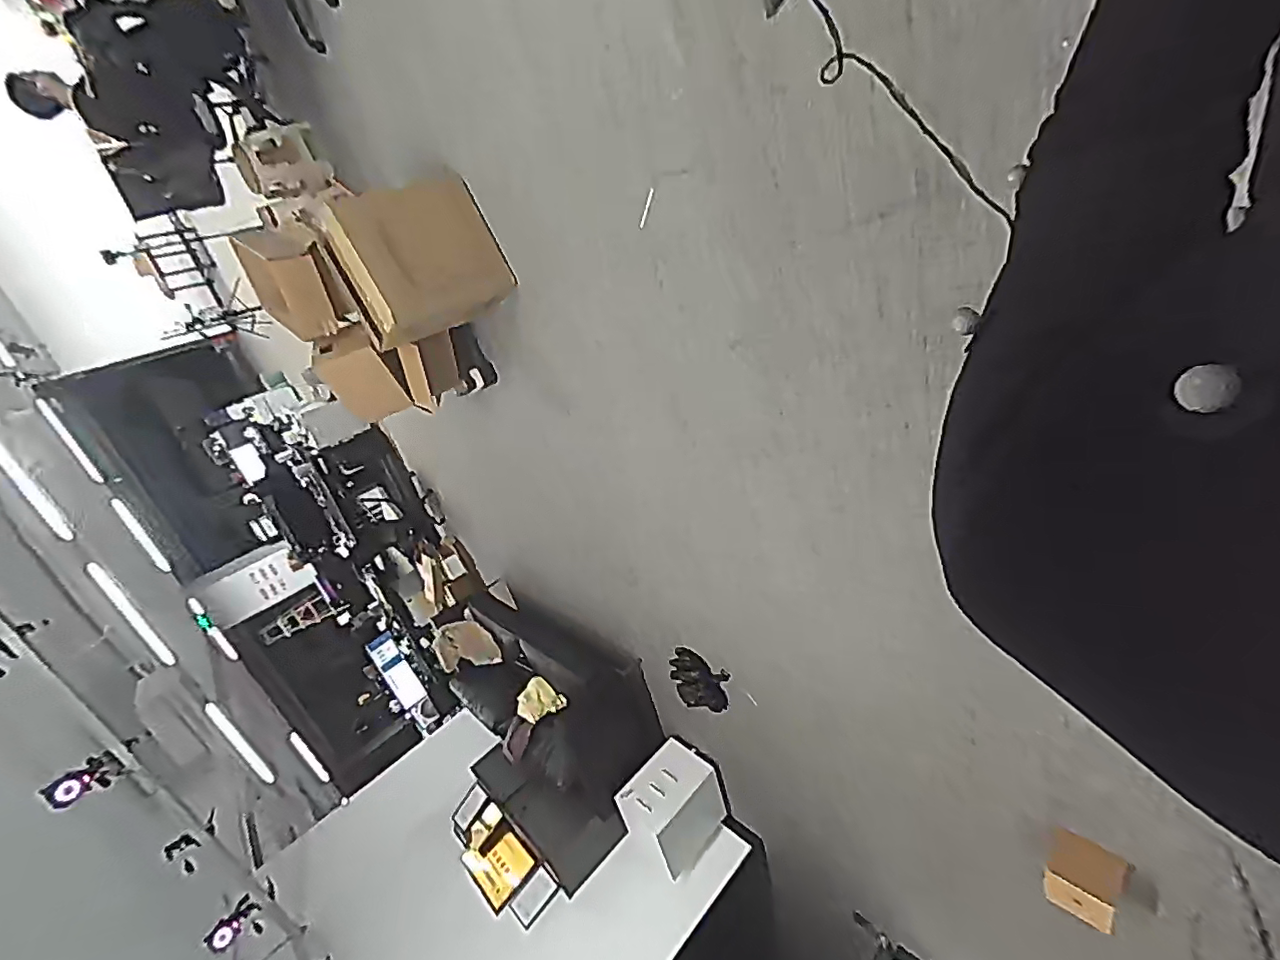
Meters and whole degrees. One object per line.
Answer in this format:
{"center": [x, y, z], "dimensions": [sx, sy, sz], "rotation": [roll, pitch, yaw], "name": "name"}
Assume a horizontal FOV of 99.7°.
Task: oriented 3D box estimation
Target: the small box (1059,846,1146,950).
{"center": [1.457, 1.304, 1.706], "dimensions": [0.179, 0.176, 0.168], "rotation": [11, 126, 46], "name": "small box"}
